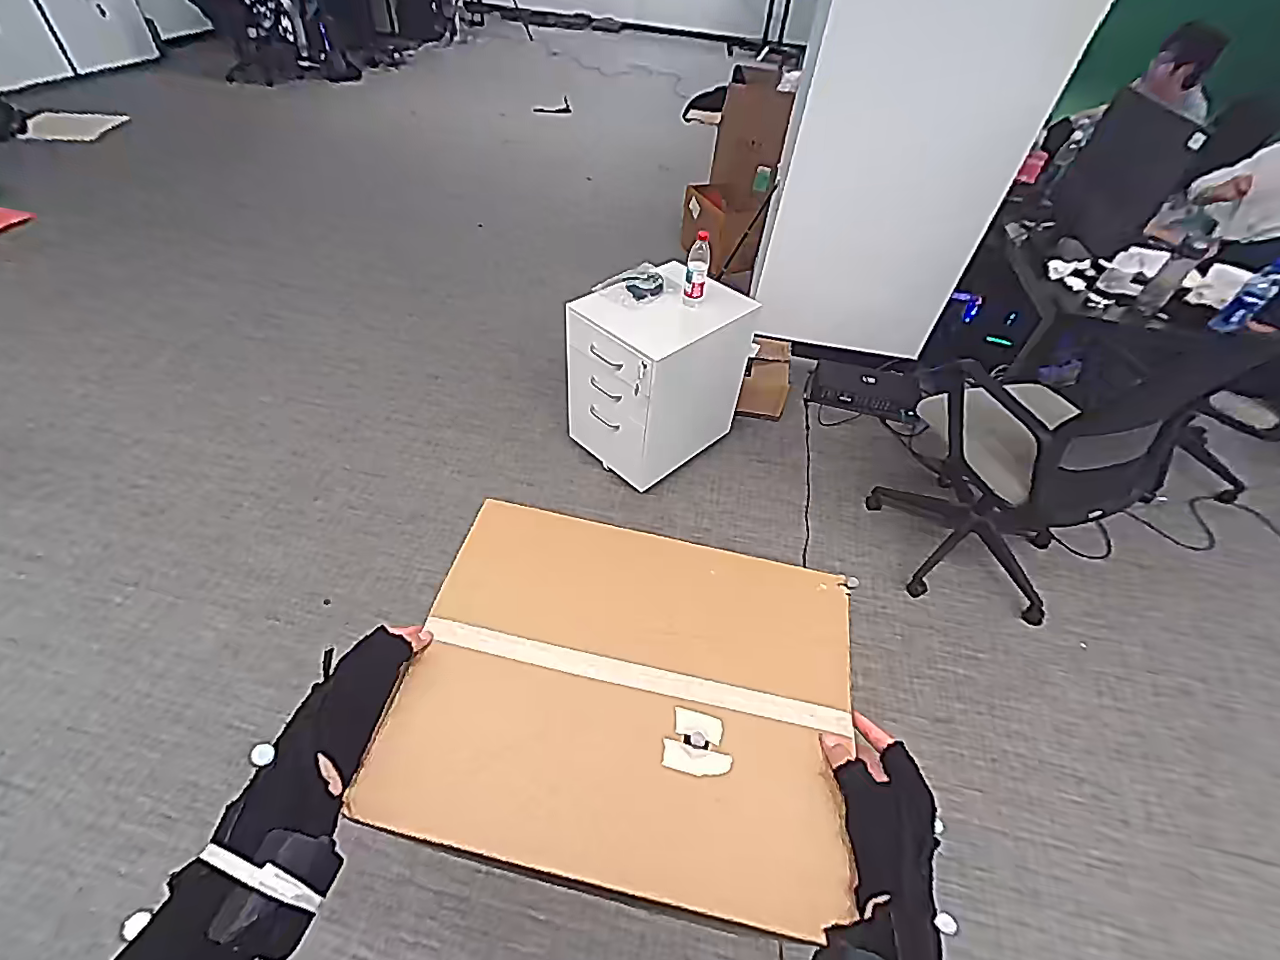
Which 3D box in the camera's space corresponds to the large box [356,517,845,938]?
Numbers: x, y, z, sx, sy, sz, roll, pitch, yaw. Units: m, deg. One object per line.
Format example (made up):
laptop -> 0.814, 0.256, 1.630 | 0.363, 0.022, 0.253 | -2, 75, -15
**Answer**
large box -> -0.022, 0.286, 0.630 | 0.408, 0.320, 0.320 | 12, 52, 4
